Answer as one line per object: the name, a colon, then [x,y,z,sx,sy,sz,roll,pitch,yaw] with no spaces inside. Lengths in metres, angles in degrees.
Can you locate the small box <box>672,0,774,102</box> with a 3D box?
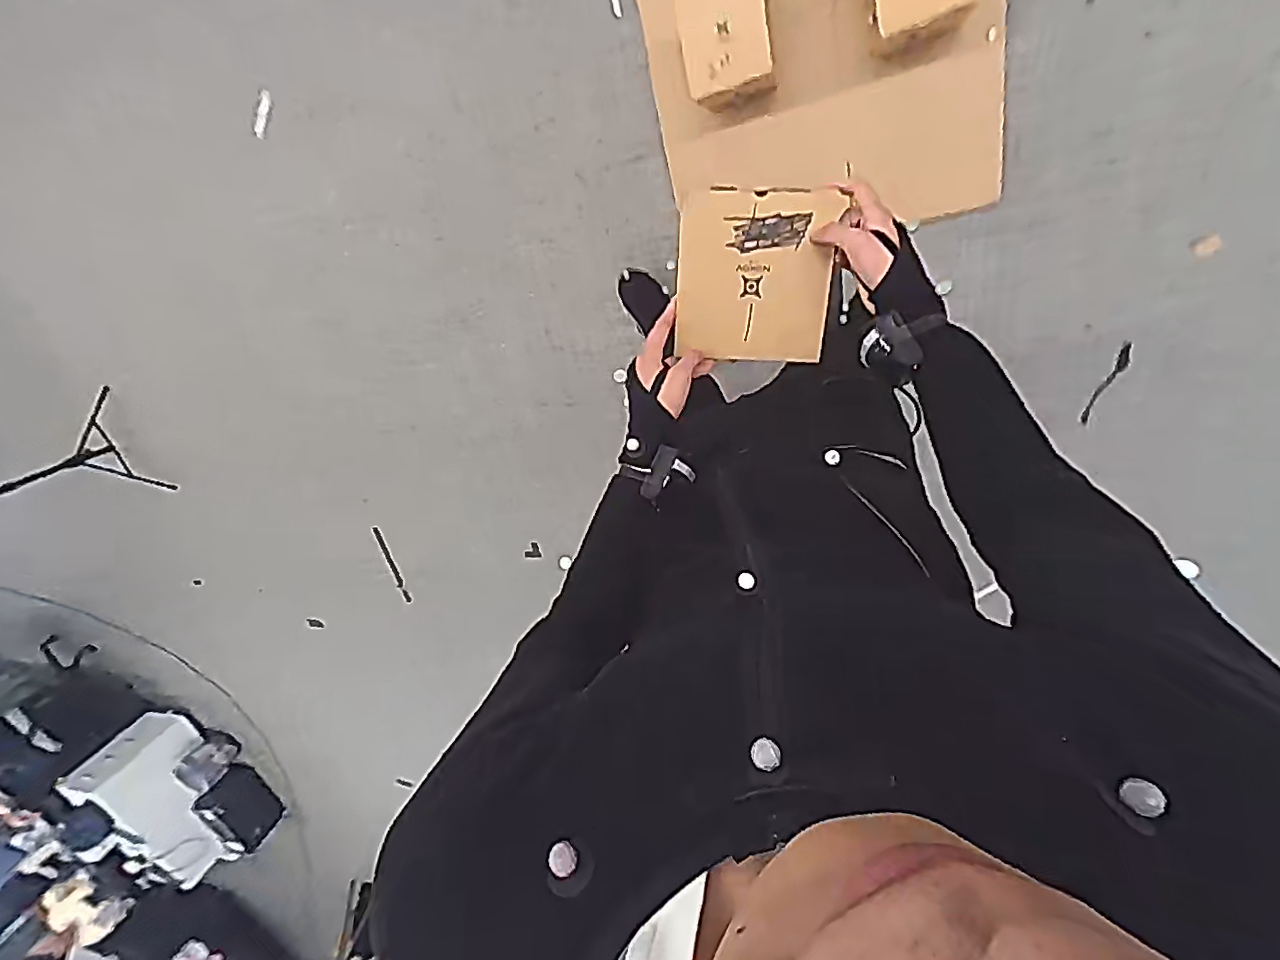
small box: [0.173,-0.897,1.091,0.168,0.176,0.179,-5,116,22]

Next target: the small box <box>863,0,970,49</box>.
small box: [0.495,-0.927,0.975,0.168,0.176,0.179,-9,115,23]

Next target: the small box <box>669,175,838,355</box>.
small box: [0.124,-0.254,0.657,0.168,0.176,0.179,4,110,4]
